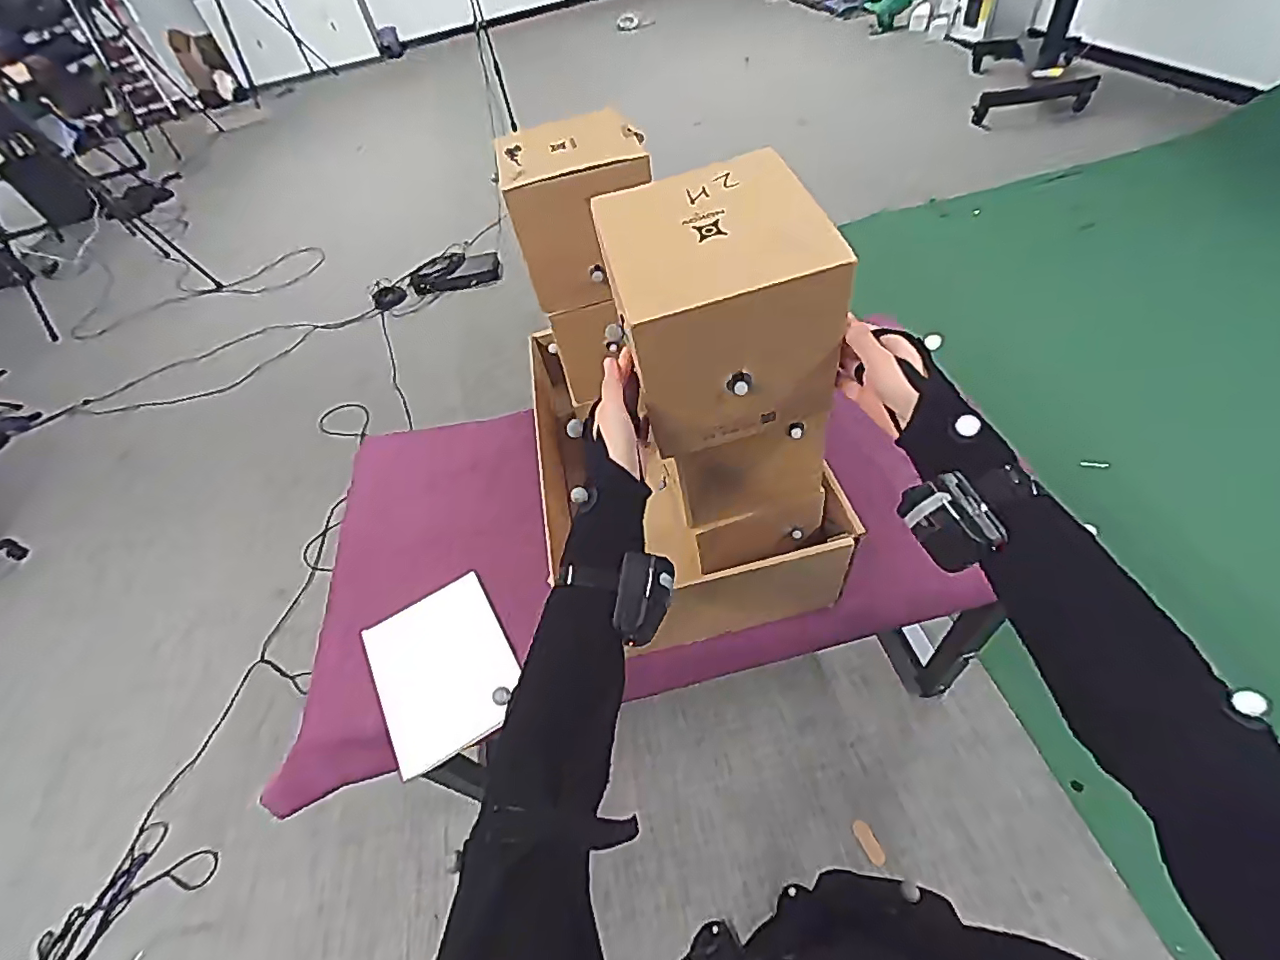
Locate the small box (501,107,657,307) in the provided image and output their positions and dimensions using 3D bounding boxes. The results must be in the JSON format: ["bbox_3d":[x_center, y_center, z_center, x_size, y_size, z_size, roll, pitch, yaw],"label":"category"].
[{"bbox_3d":[-0.074,-0.359,0.721,0.179,0.176,0.168,-14,51,-2],"label":"small box"}]

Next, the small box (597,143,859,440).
[{"bbox_3d":[0.070,-0.155,0.482,0.168,0.176,0.179,-15,56,1],"label":"small box"}]

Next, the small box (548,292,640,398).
[{"bbox_3d":[-0.047,-0.256,0.846,0.179,0.176,0.168,-16,51,-2],"label":"small box"}]

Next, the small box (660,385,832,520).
[{"bbox_3d":[0.112,-0.073,0.659,0.179,0.176,0.168,-14,48,-1],"label":"small box"}]
